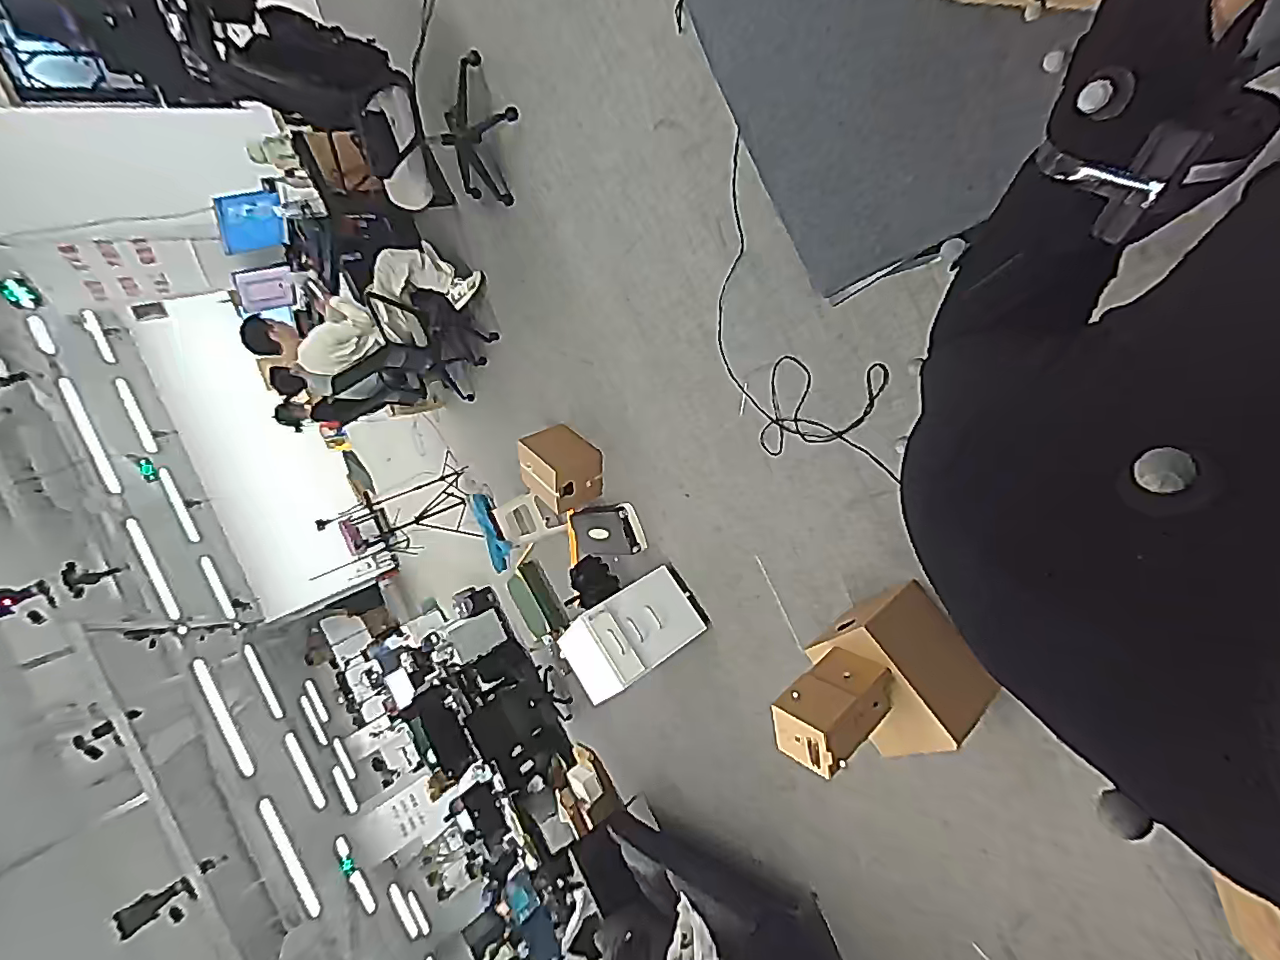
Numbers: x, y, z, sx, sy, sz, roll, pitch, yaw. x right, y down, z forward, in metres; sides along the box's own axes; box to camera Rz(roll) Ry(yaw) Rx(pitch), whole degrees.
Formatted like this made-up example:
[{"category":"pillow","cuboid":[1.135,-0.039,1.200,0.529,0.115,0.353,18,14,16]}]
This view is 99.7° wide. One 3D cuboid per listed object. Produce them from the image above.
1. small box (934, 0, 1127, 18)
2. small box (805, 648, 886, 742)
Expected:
[{"category":"small box","cuboid":[0.353,-0.510,0.456,0.179,0.176,0.168,41,140,33]},{"category":"small box","cuboid":[0.627,0.640,1.635,0.179,0.176,0.168,11,119,49]}]
